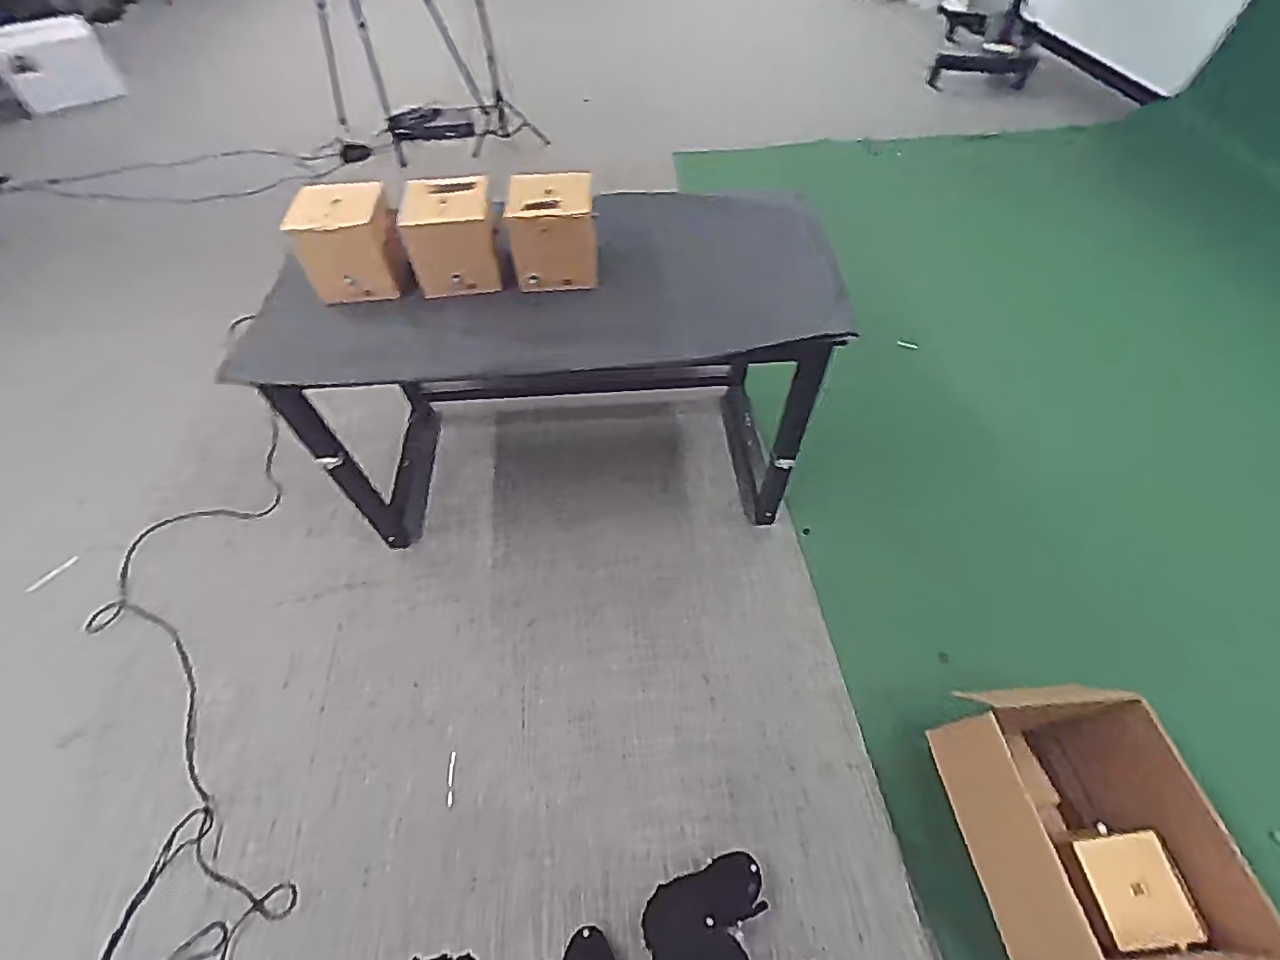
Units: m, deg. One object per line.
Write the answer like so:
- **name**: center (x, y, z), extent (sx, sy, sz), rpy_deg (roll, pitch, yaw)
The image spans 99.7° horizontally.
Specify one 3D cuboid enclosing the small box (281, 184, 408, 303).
- **small box**: center (-0.609, -0.498, 1.143), extent (0.168, 0.176, 0.179), rpy_deg (-5, 55, -3)
